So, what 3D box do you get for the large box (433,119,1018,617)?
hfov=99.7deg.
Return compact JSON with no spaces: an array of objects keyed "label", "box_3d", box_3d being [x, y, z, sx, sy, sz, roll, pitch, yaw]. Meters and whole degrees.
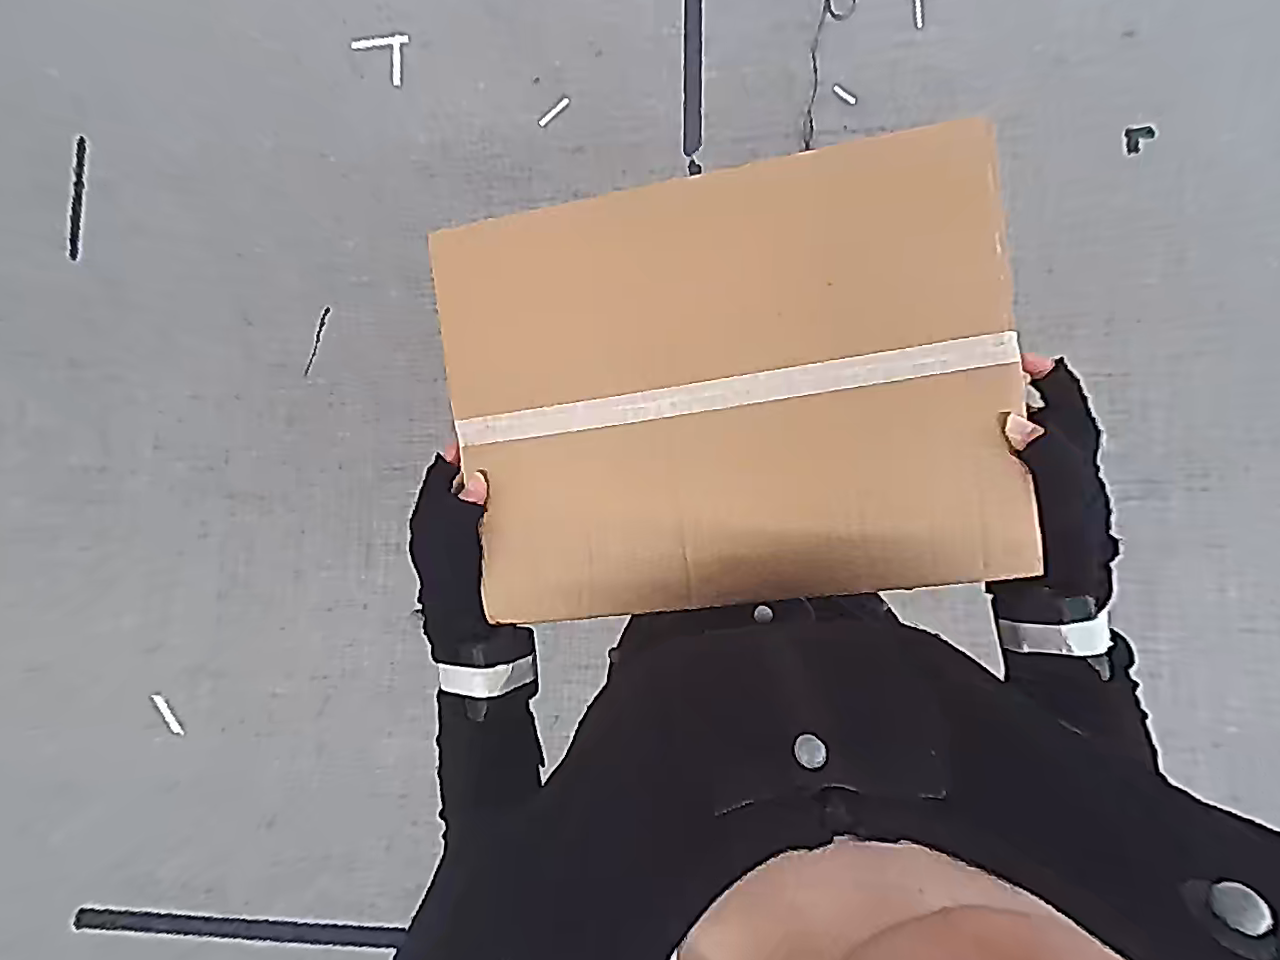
[{"label":"large box","box_3d":[0.073,-0.078,0.550,0.408,0.320,0.320,-8,91,9]}]
